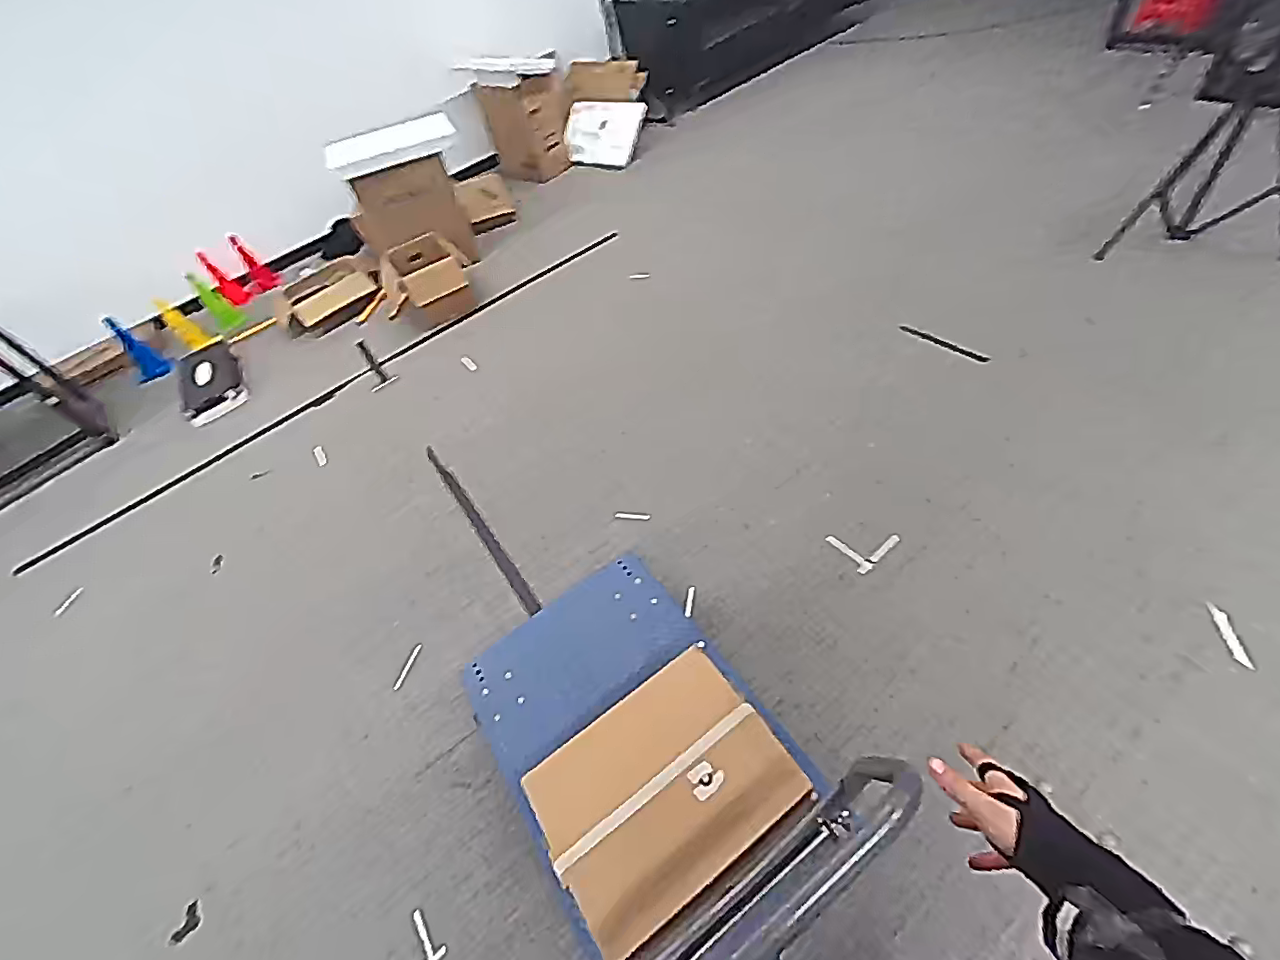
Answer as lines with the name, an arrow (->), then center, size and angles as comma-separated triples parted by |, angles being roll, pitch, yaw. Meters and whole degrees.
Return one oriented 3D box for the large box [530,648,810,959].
large box -> 0.068, 0.618, 1.039 | 0.408, 0.320, 0.320 | -33, 51, -14
